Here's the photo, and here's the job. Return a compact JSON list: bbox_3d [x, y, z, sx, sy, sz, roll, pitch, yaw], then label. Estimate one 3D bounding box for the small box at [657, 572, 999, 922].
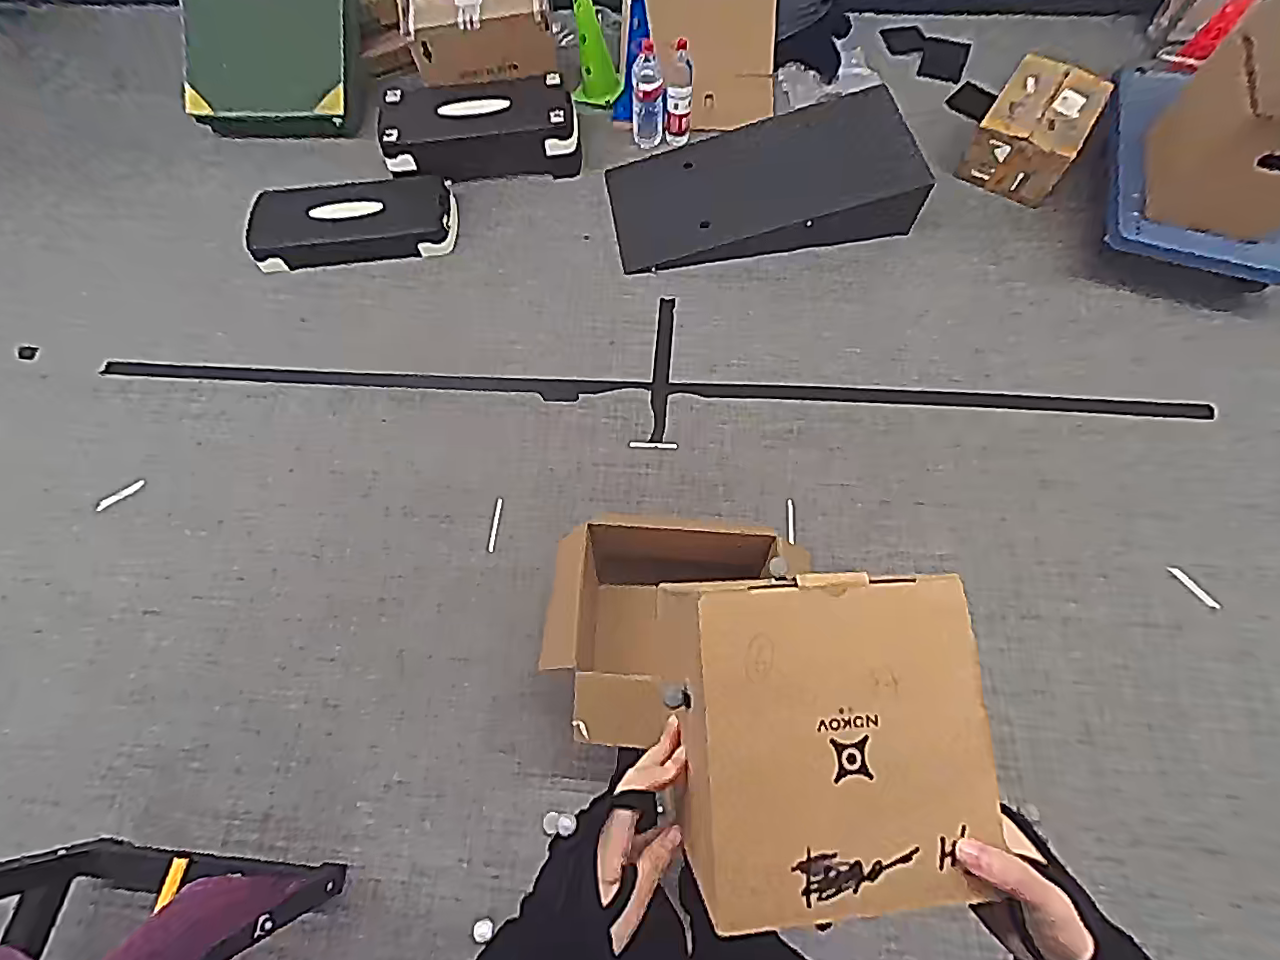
[{"bbox_3d":[0.106,0.159,0.383,0.168,0.176,0.179,-1,79,-7],"label":"small box"}]
